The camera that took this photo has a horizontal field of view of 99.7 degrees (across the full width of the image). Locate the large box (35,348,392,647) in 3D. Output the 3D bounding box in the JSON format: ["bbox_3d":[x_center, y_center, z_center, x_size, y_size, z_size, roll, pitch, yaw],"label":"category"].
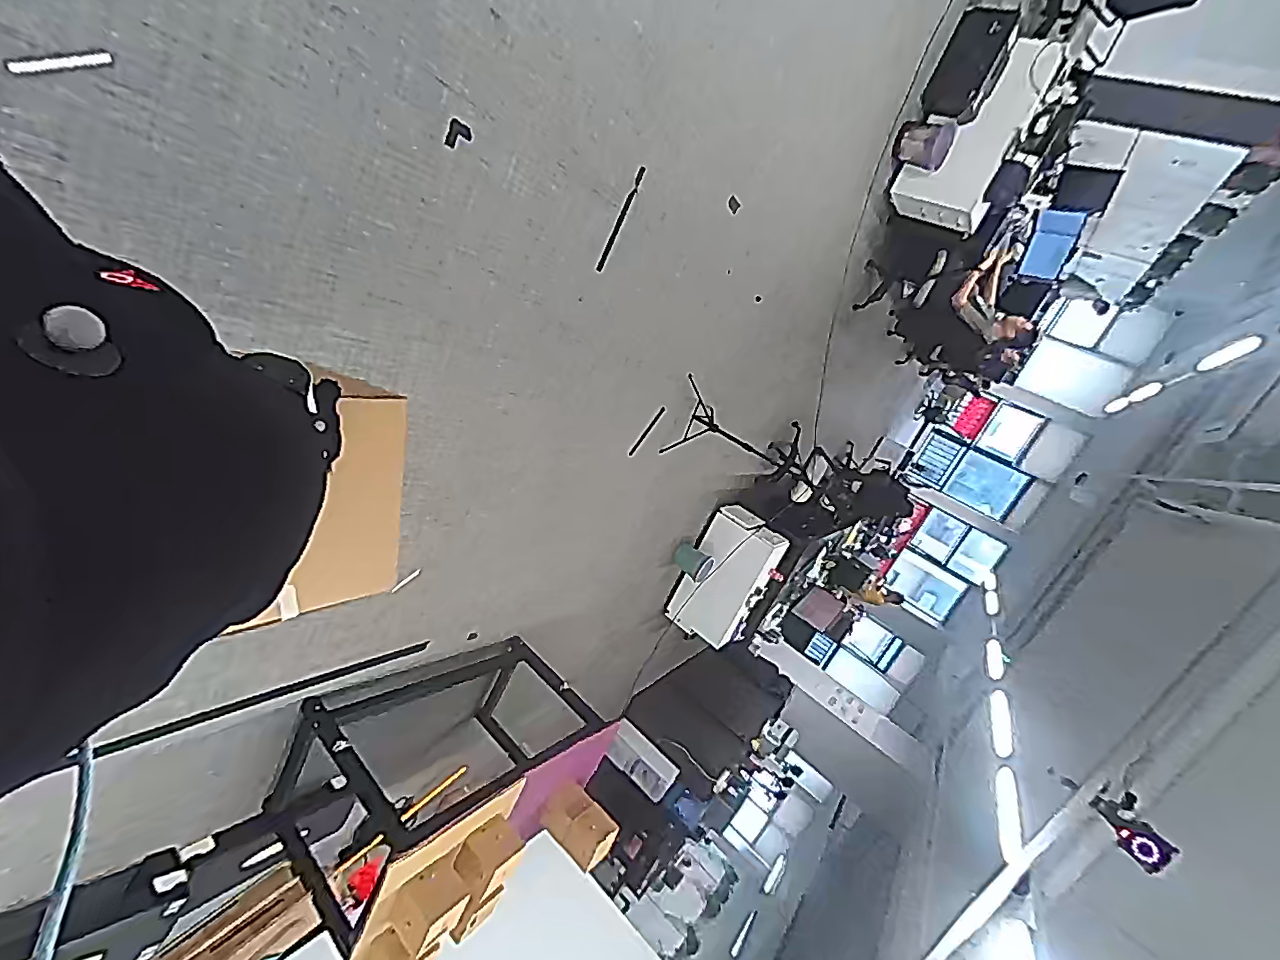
[{"bbox_3d":[-0.632,-0.007,0.814,0.320,0.408,0.320,-7,110,-54],"label":"large box"}]
